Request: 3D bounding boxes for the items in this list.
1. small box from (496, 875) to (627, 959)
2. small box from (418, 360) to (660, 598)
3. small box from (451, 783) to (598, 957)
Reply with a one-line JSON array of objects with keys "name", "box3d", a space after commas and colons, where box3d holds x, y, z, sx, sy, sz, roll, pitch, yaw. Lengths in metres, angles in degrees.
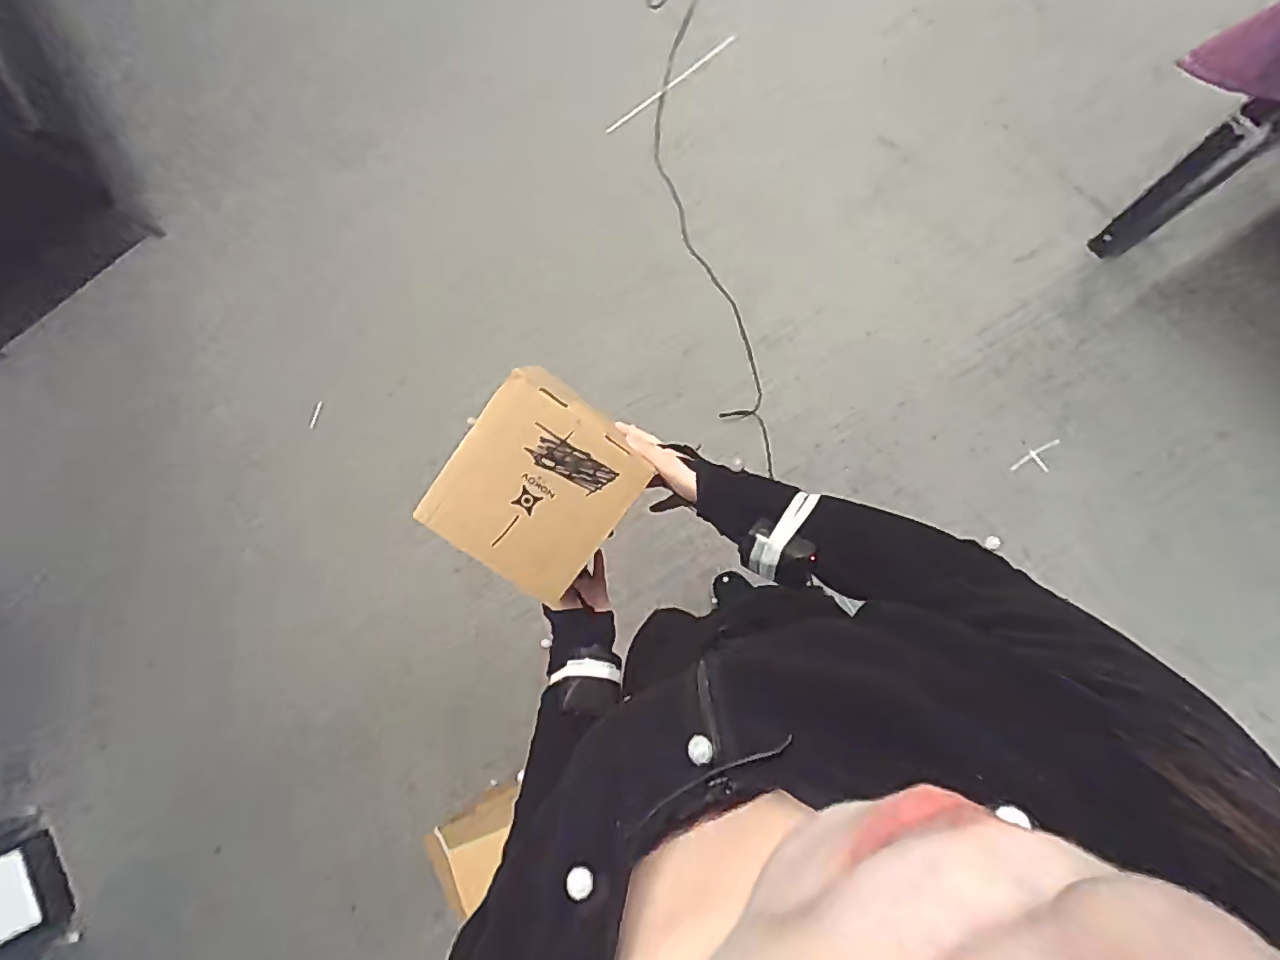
[{"name": "small box", "box3d": [-0.149, 0.946, 1.083, 0.179, 0.176, 0.168, -28, 80, 9]}, {"name": "small box", "box3d": [-0.099, -0.014, 0.587, 0.168, 0.176, 0.179, 37, 100, -9]}, {"name": "small box", "box3d": [-0.196, 0.668, 0.955, 0.168, 0.176, 0.179, -26, 78, 8]}]
